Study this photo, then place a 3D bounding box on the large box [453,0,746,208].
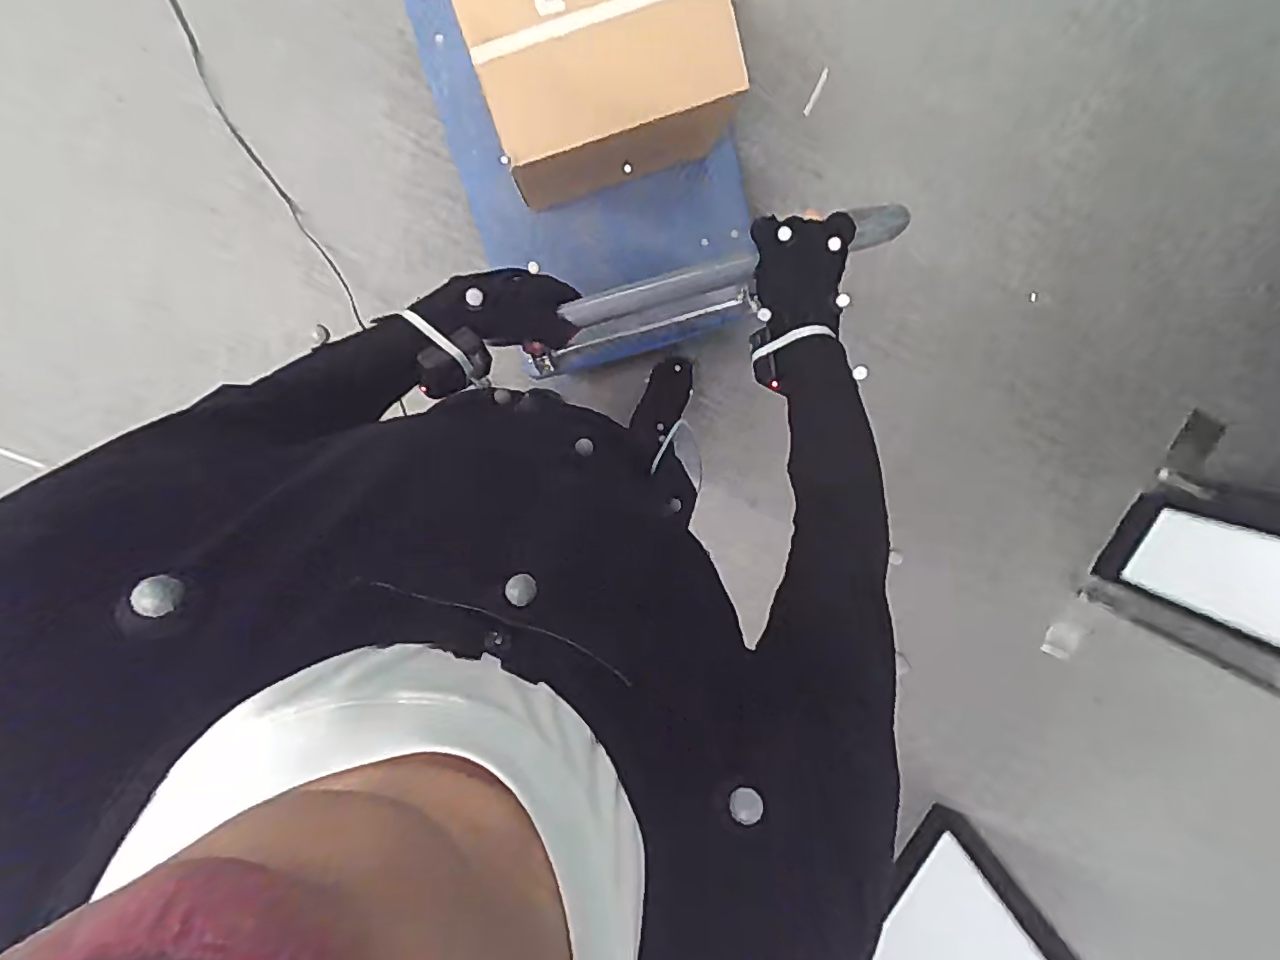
[{"bbox_3d":[-0.073,-0.740,0.968,0.408,0.320,0.320,-19,105,0],"label":"large box"}]
